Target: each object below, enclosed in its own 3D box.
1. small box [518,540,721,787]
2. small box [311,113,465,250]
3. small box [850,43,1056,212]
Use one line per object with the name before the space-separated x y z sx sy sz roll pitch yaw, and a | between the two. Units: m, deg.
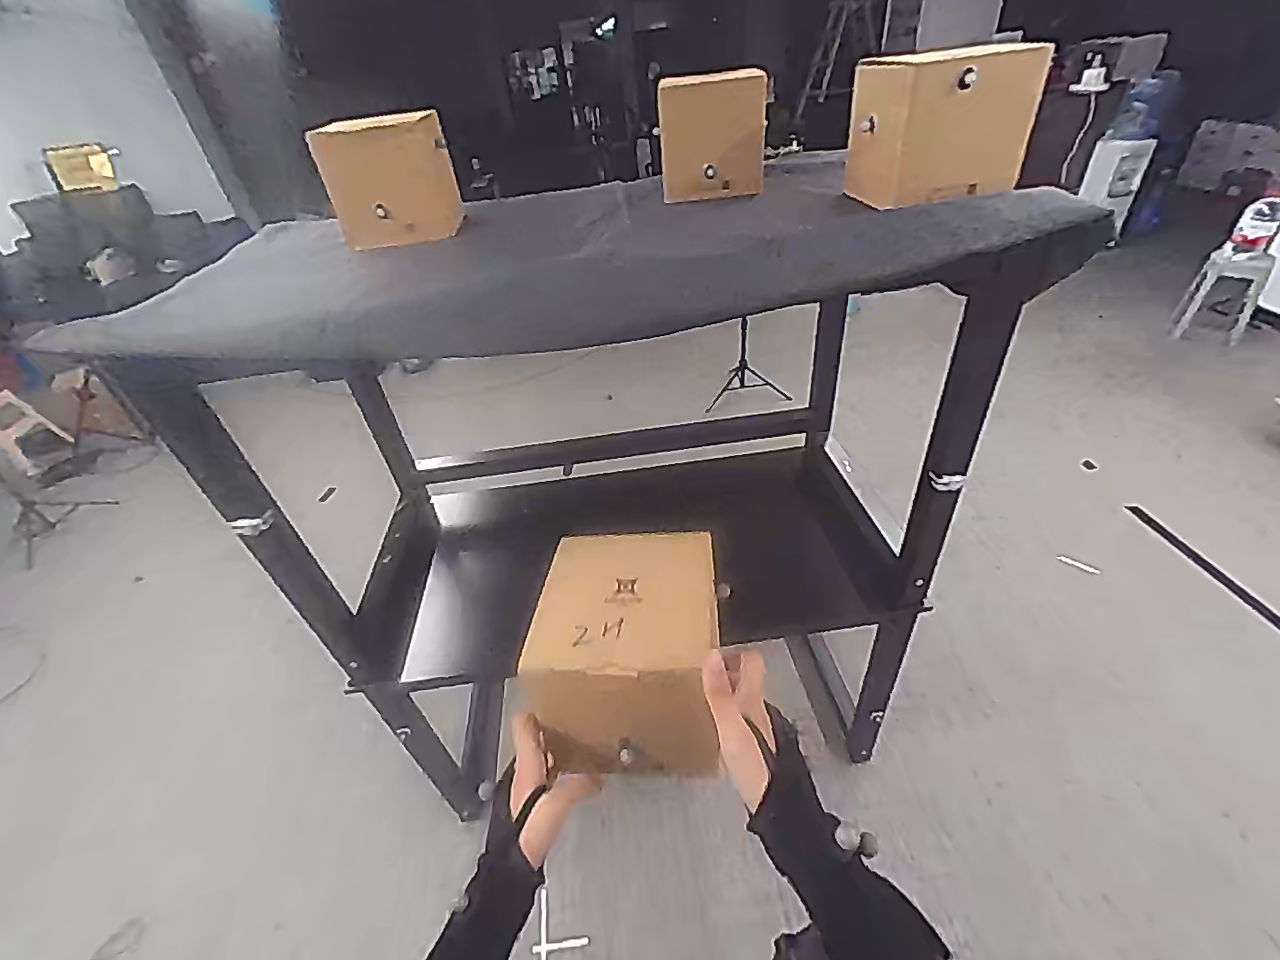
small box | -0.006 0.181 0.558 0.168 0.176 0.179 -3 33 10
small box | -0.402 -0.498 0.903 0.168 0.176 0.179 -9 39 -2
small box | 0.403 -0.476 0.739 0.168 0.176 0.179 -8 37 1
